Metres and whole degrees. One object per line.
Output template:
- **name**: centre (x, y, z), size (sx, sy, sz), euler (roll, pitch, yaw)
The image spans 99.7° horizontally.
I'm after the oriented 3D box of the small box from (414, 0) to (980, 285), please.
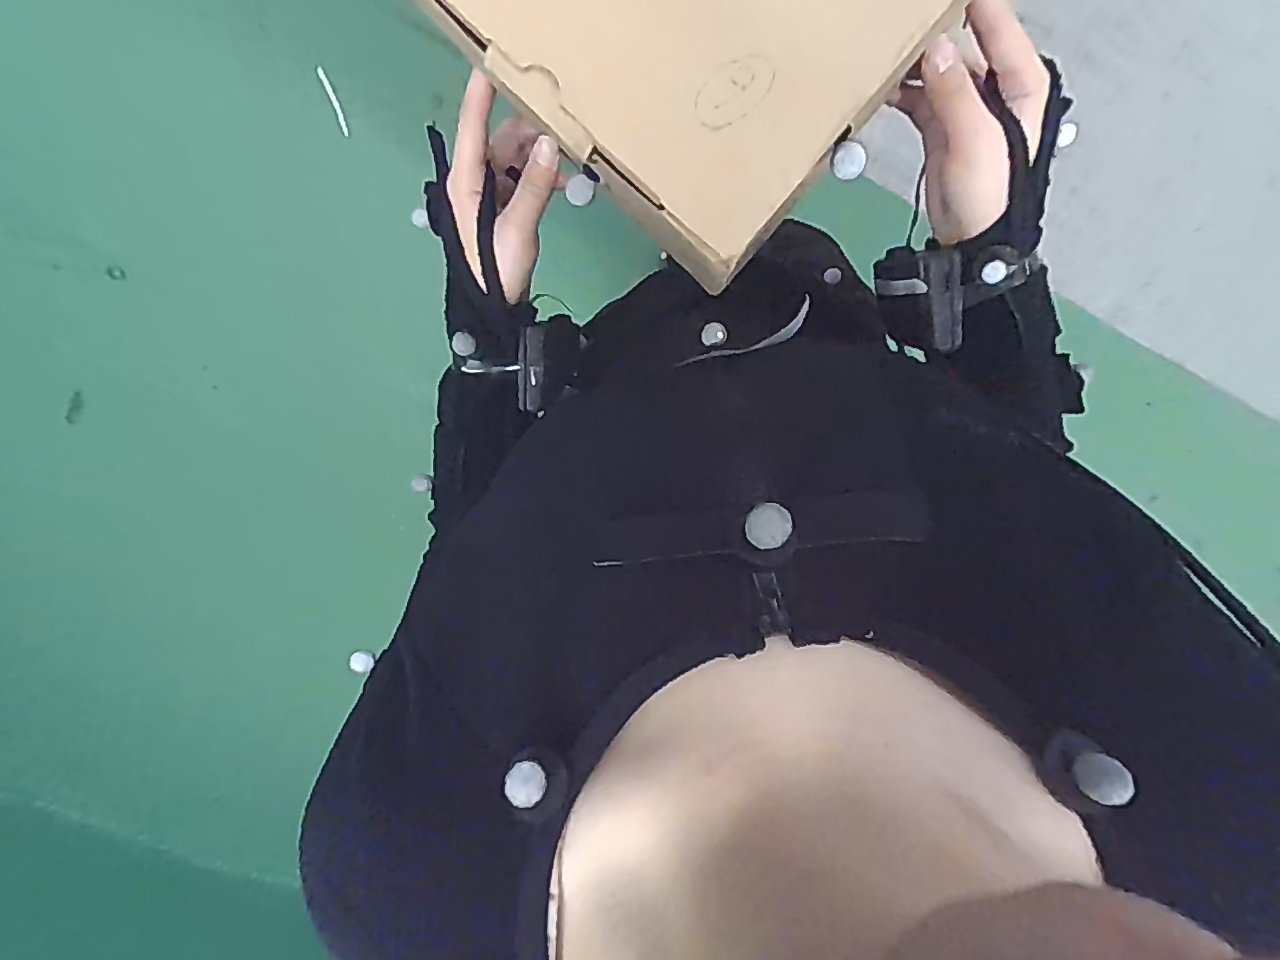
- **small box**: centre (0.035, -0.205, 0.229), size (0.168, 0.176, 0.179), euler (42, 107, -5)
